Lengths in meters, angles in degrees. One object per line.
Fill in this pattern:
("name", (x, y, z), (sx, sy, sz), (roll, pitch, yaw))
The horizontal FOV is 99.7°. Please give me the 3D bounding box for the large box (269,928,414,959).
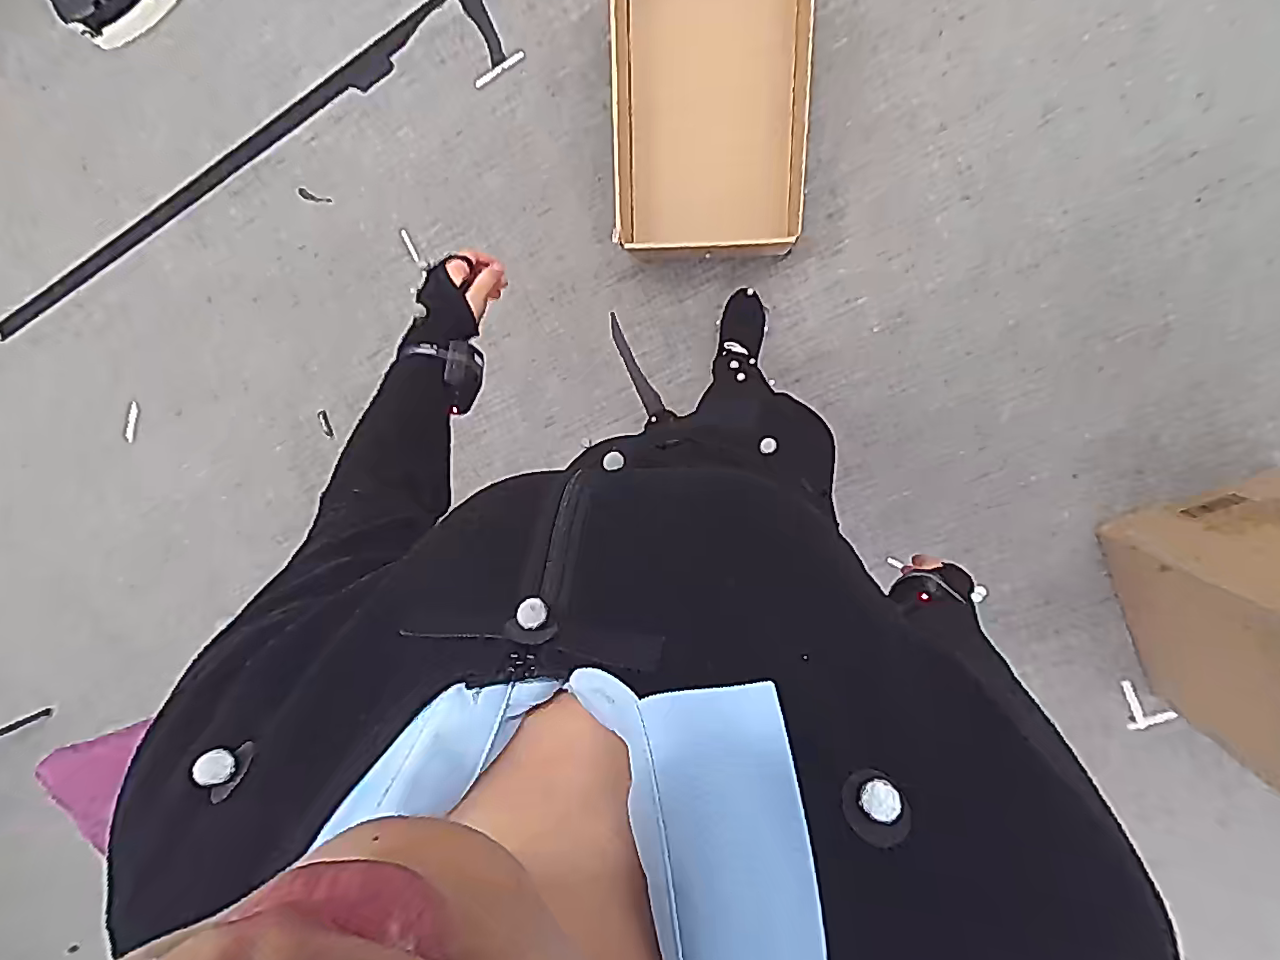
("large box", (-0.529, 1.083, 0.913), (0.320, 0.320, 0.408), (-23, 100, 14))
